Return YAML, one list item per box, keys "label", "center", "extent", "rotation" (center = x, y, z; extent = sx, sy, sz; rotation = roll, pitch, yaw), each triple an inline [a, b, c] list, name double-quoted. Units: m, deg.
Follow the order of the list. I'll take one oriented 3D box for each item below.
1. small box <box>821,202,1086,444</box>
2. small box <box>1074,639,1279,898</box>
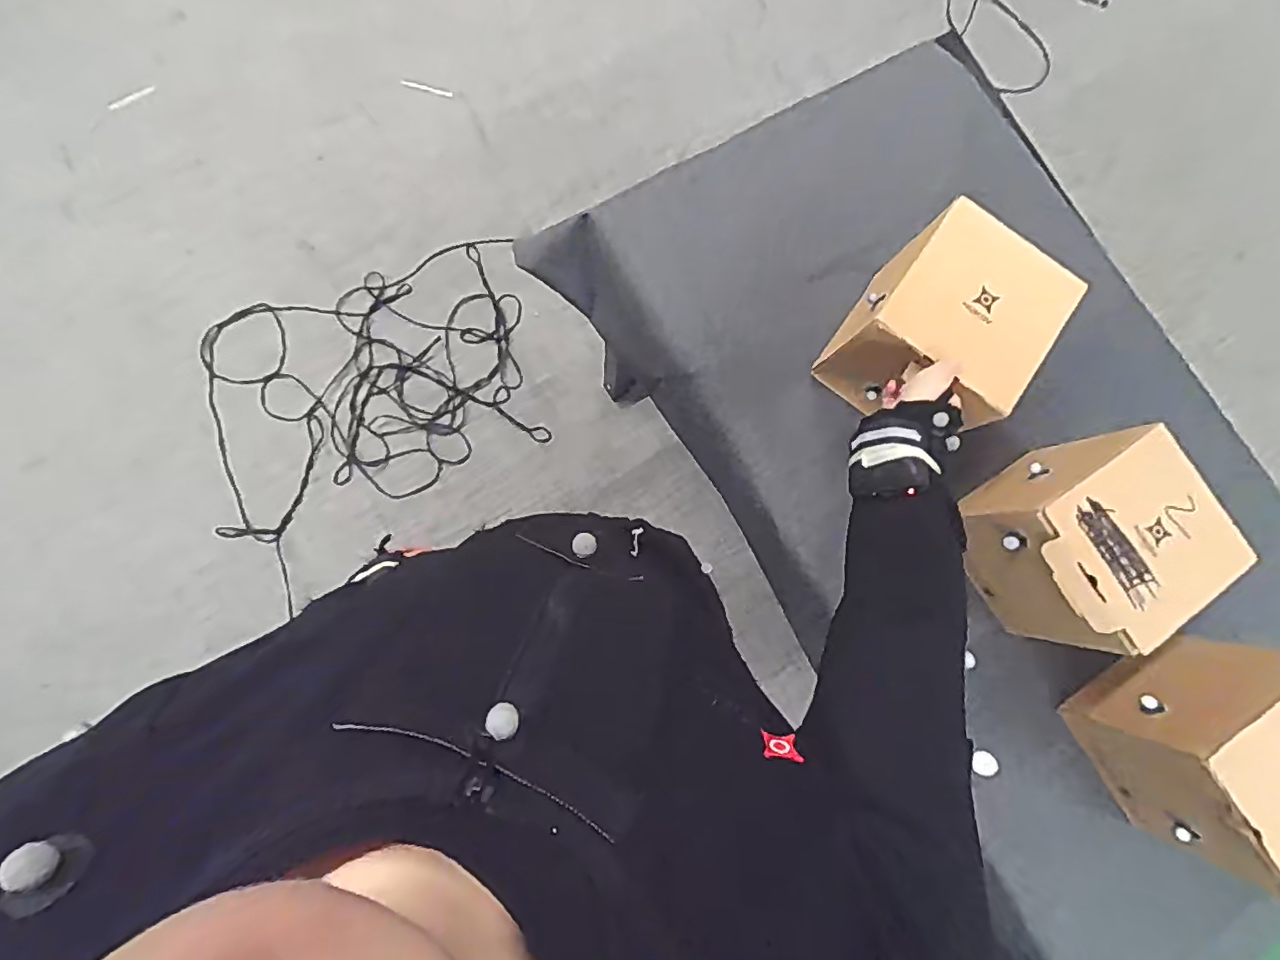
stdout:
- label: "small box"
  center: [0.342, -0.165, 0.626]
  extent: [0.168, 0.176, 0.179]
  rotation: [36, 82, 0]
- label: "small box"
  center: [0.632, 0.300, 0.591]
  extent: [0.179, 0.176, 0.168]
  rotation: [-32, 87, -9]
